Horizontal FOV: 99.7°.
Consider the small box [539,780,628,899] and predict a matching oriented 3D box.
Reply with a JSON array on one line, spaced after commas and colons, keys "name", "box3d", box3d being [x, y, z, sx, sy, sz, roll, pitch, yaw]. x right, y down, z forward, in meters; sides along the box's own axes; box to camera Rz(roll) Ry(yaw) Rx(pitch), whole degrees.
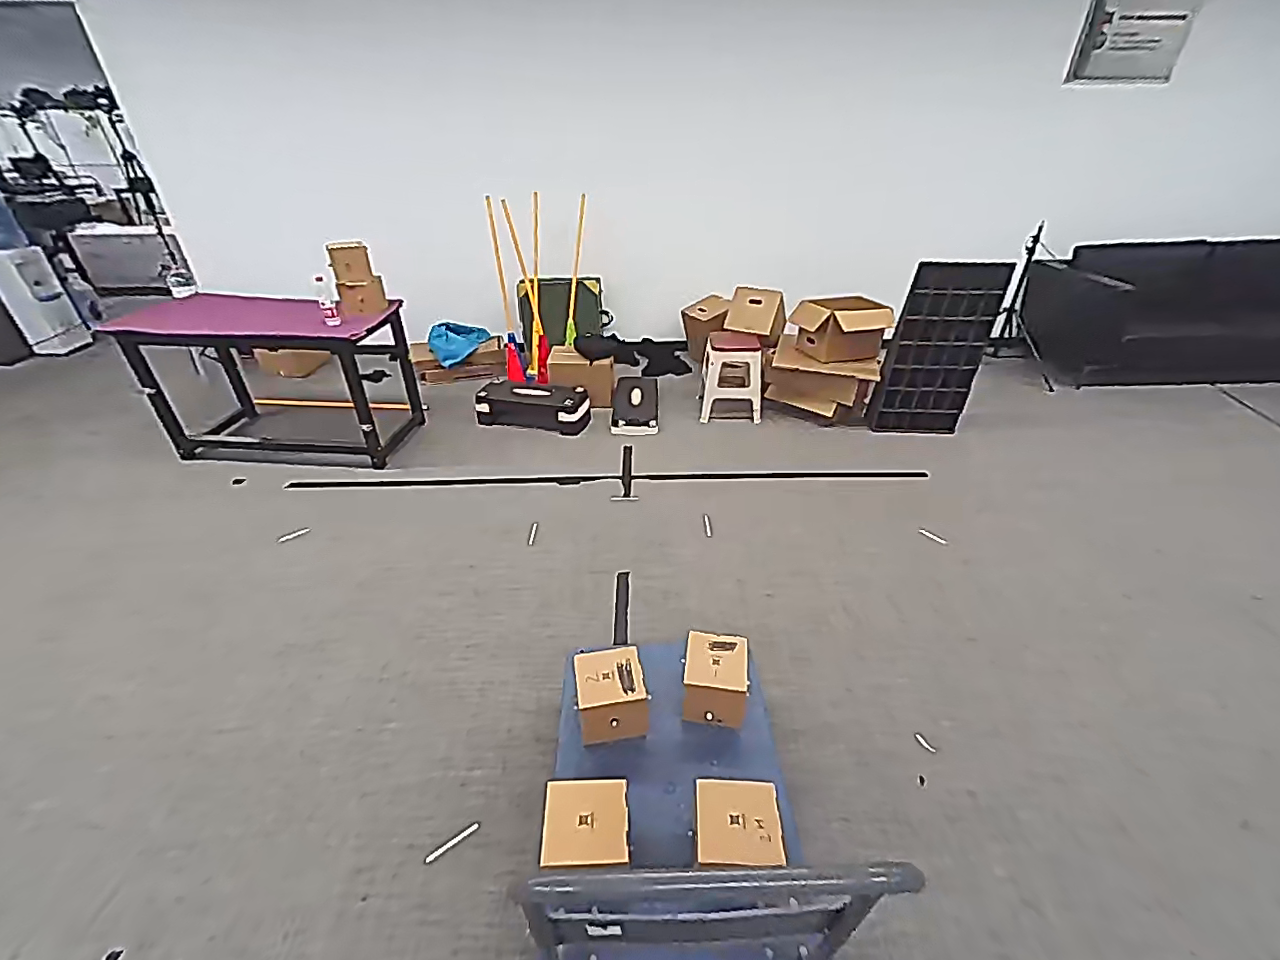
[{"name": "small box", "box3d": [-0.116, 0.775, 1.166, 0.179, 0.176, 0.168, 0, 33, -3]}]

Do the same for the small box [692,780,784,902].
[{"name": "small box", "box3d": [0.202, 0.777, 1.164, 0.179, 0.176, 0.168, 2, 34, 3]}]

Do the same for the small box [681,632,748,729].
[{"name": "small box", "box3d": [0.205, 0.553, 1.498, 0.168, 0.176, 0.179, 5, 35, 8]}]
